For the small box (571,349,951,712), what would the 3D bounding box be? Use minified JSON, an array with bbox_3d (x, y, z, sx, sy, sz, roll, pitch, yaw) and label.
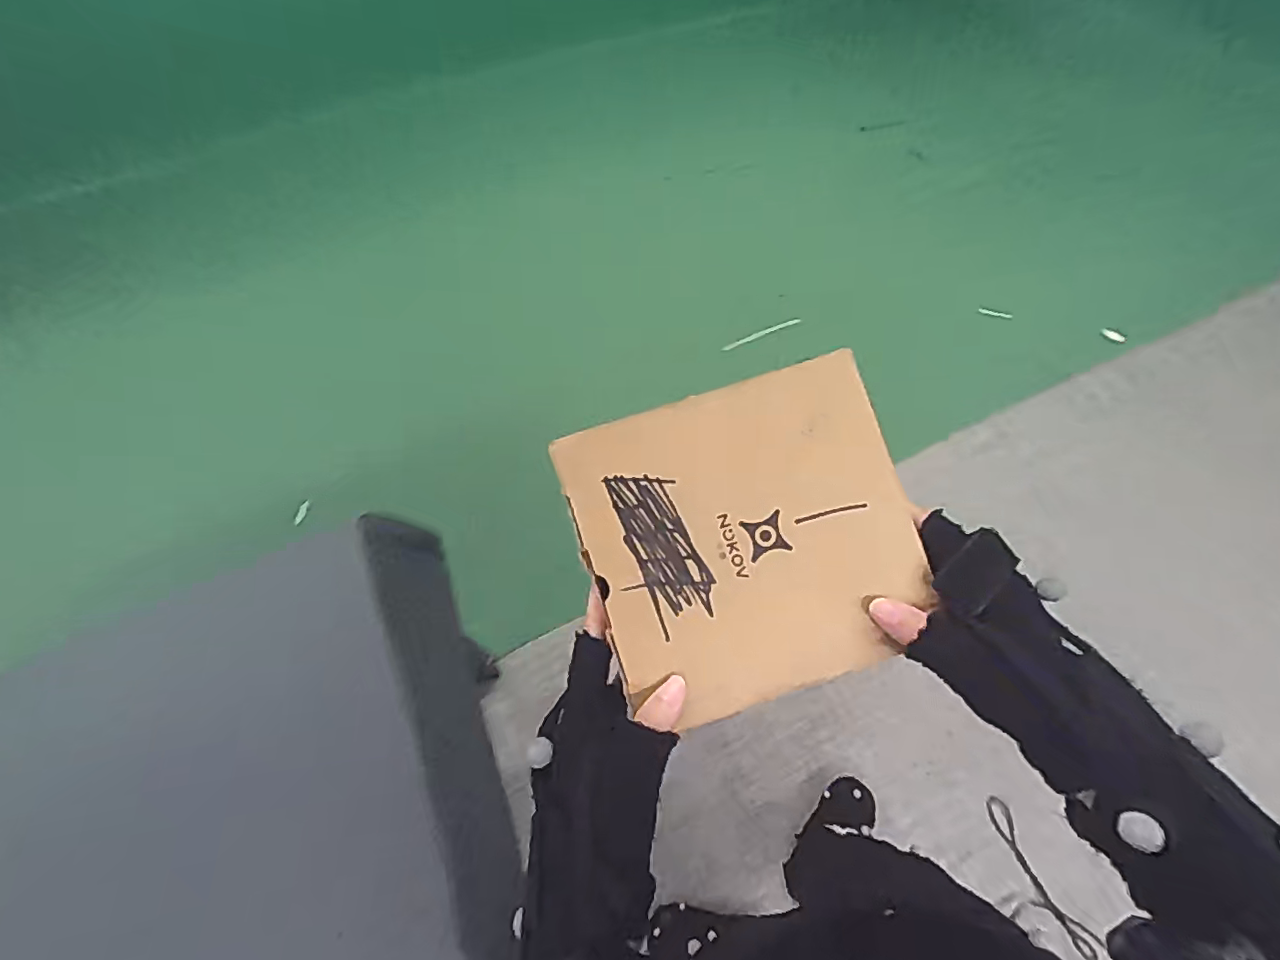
[{"bbox_3d":[0.065,0.033,0.378,0.179,0.176,0.168,-17,86,-3],"label":"small box"}]
